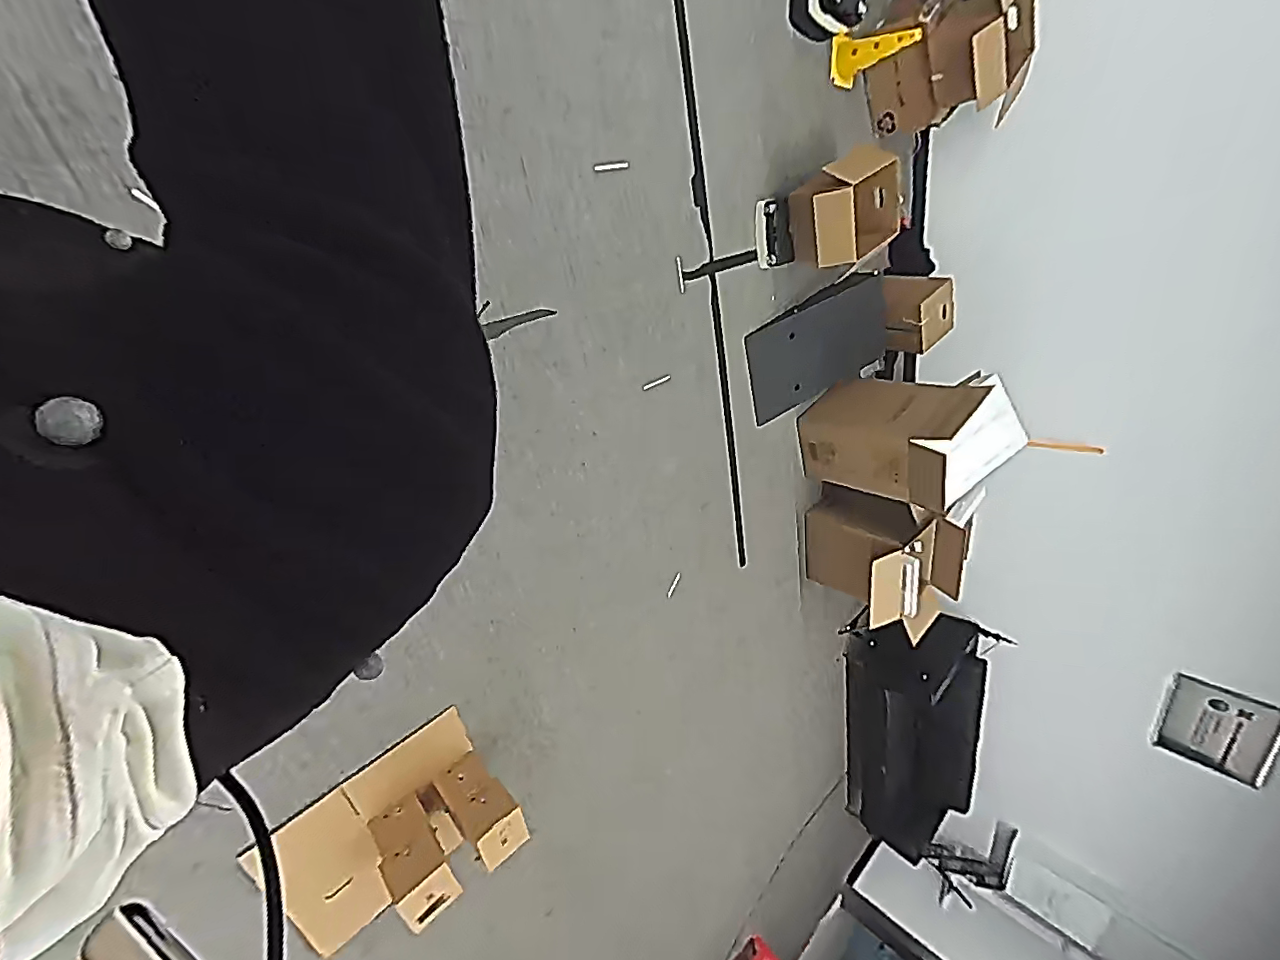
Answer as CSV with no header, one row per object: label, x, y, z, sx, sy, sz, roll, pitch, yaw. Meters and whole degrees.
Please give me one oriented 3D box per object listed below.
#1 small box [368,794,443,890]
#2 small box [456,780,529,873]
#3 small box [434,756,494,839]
small box,-0.799,1.224,1.841,0.168,0.176,0.179,-26,120,-35
small box,-0.510,1.188,1.867,0.168,0.176,0.179,-27,121,-36
small box,-0.629,1.147,1.975,0.168,0.176,0.179,-28,120,-35
